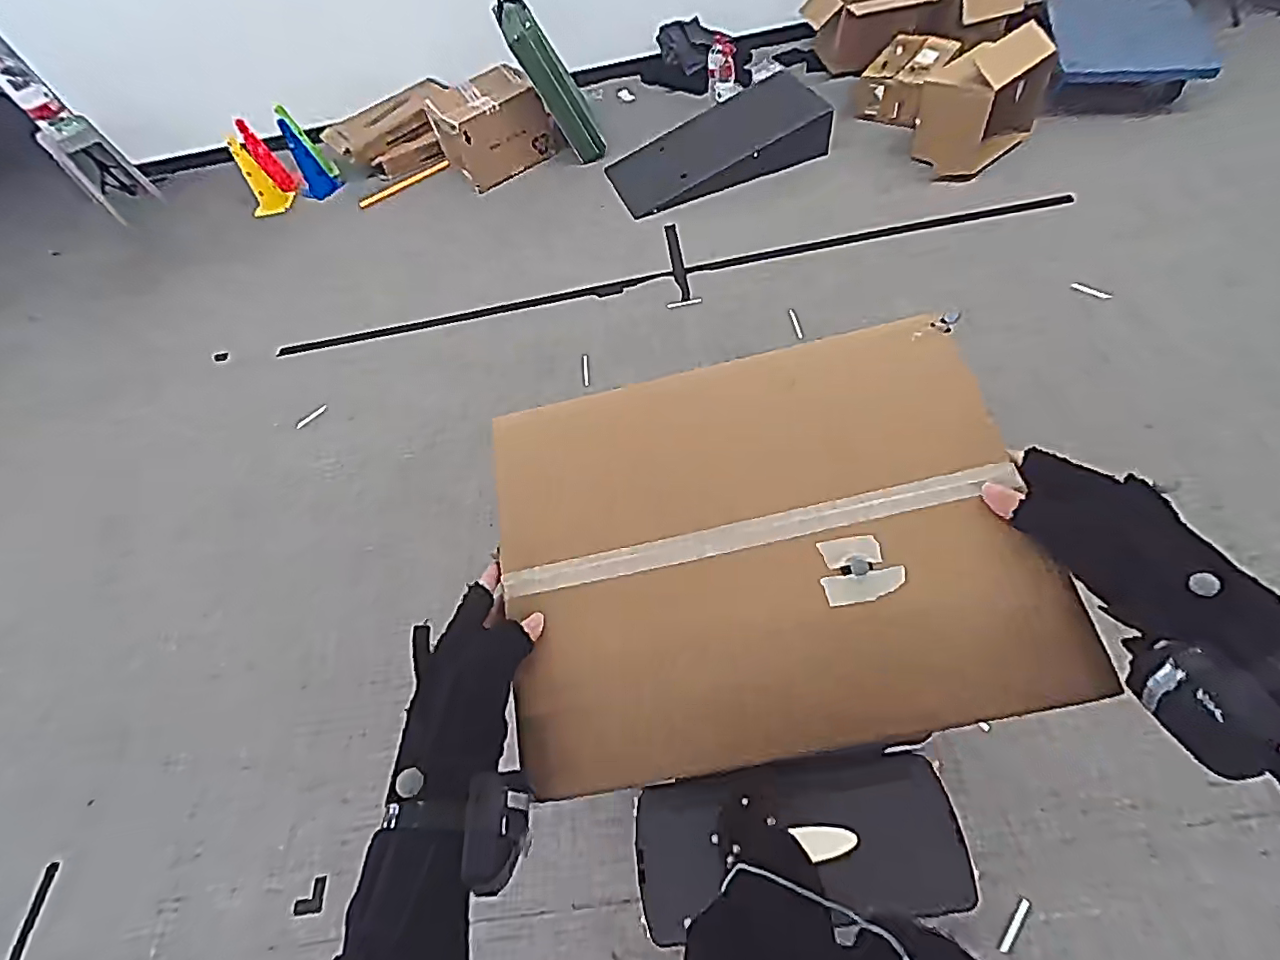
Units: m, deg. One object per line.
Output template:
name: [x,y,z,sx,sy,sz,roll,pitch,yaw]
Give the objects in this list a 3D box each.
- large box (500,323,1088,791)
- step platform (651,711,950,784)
large box: [0.109,0.097,0.574,0.408,0.320,0.320,-13,68,4]
step platform: [0.330,0.505,1.266,0.684,0.204,0.286,-10,57,2]
